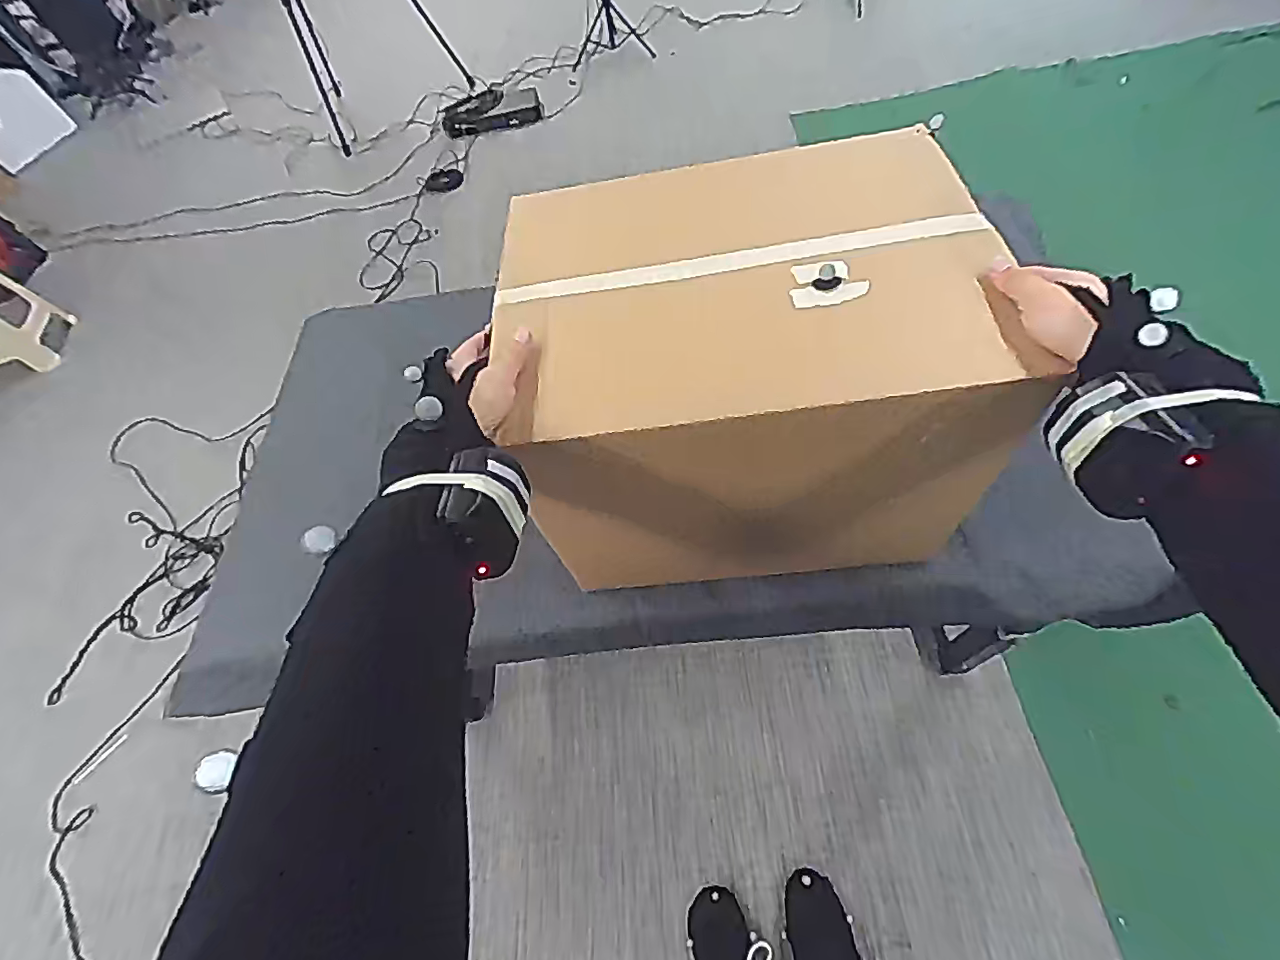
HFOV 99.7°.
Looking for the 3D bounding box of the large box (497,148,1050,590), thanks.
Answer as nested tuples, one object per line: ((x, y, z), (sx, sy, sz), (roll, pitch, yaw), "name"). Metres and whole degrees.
((0.097, -0.095, 0.589), (0.408, 0.320, 0.320), (-7, 58, 5), "large box")
